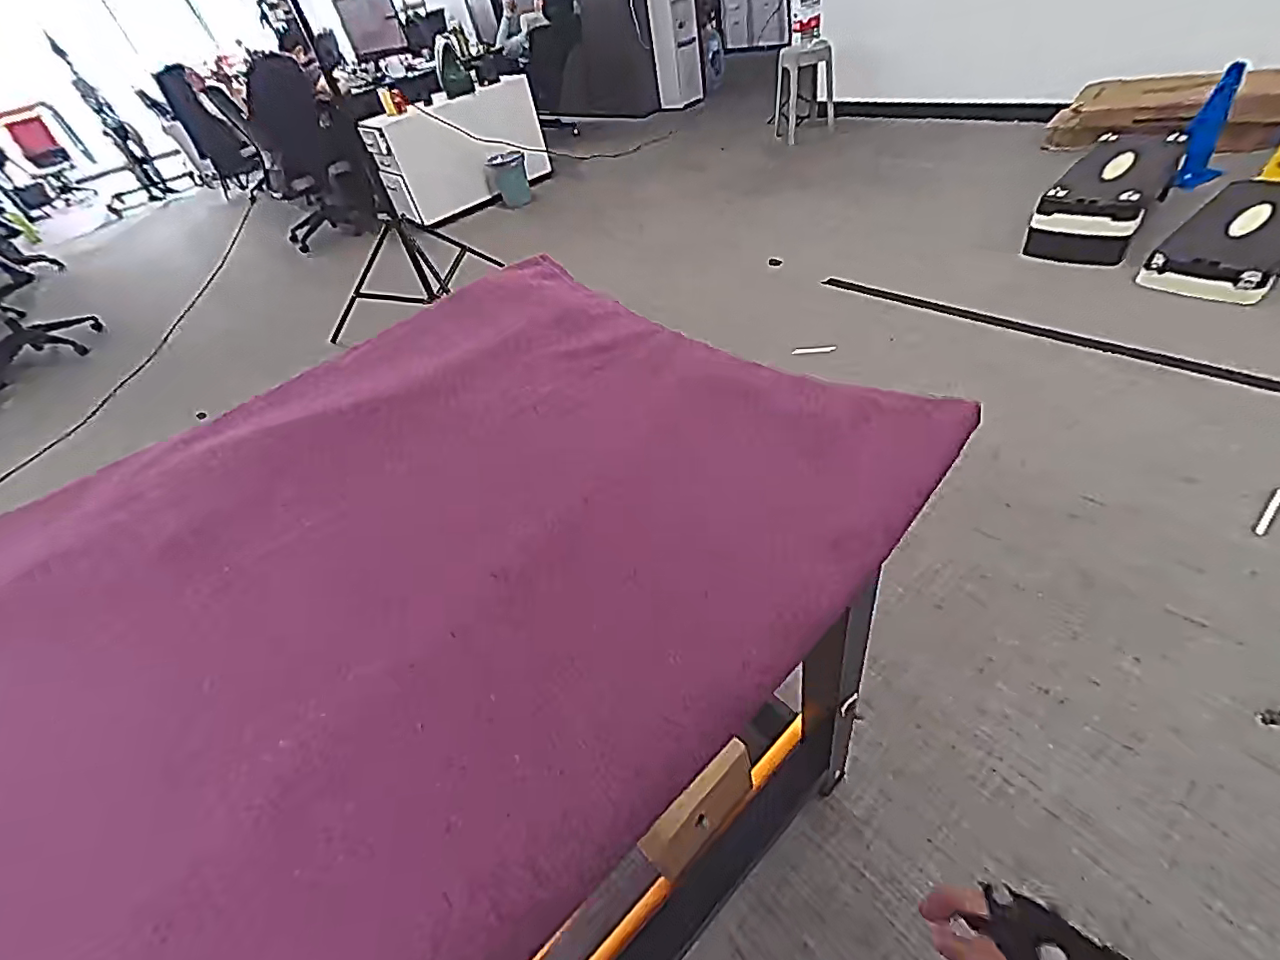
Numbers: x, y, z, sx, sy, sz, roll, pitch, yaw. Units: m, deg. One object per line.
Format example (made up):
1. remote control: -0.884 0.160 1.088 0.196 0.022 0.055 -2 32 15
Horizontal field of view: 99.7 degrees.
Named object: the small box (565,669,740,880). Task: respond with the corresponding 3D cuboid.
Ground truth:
1. small box: 0.028 0.414 0.760 0.179 0.176 0.168 -38 49 -23
